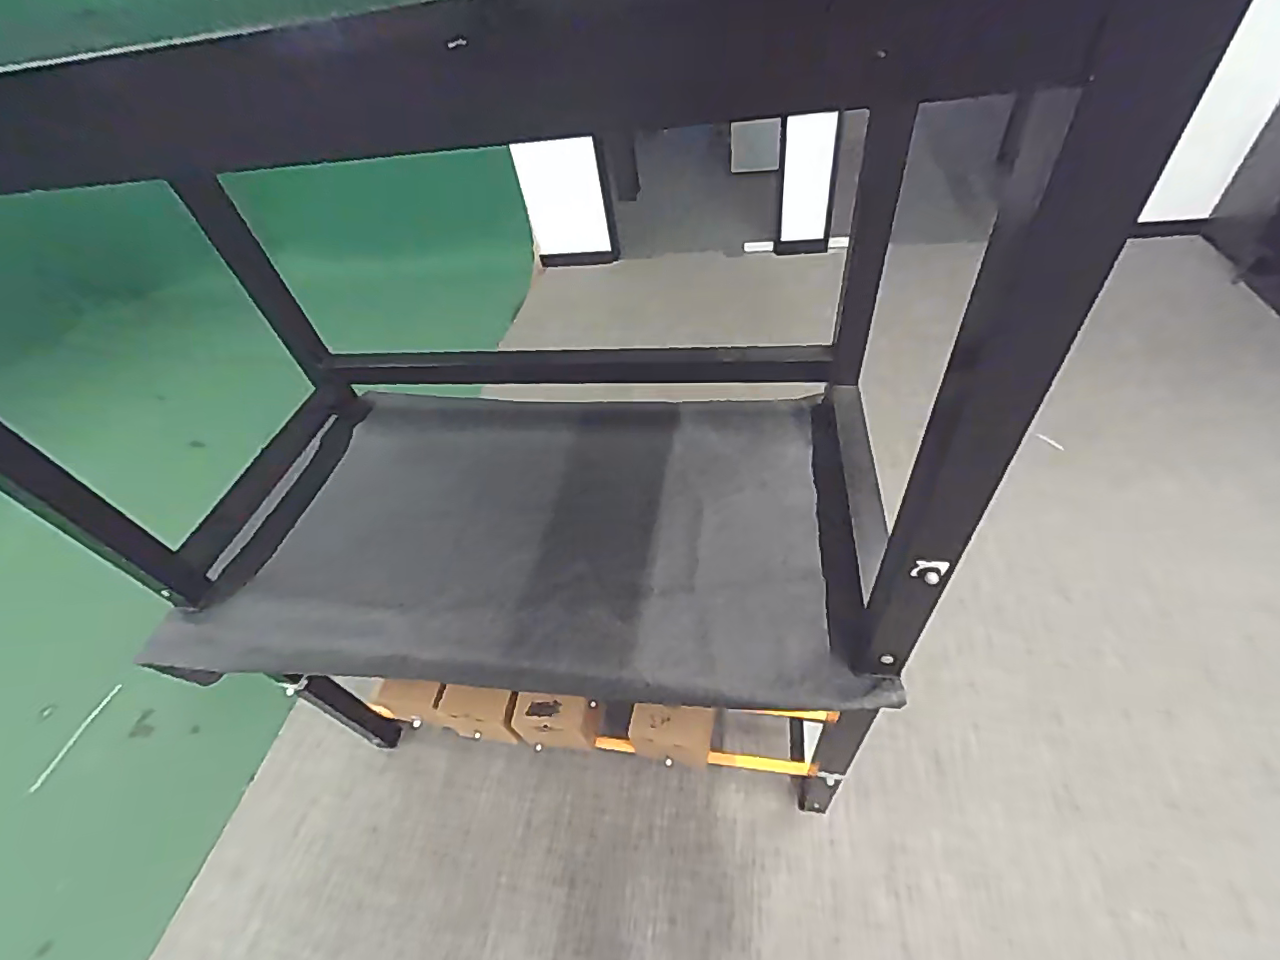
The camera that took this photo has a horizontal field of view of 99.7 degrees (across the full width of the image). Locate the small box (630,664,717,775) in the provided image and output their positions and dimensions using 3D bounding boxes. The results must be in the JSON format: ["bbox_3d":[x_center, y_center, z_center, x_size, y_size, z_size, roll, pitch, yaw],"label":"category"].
[{"bbox_3d":[0.087,0.561,1.263,0.168,0.176,0.179,5,50,16],"label":"small box"}]
